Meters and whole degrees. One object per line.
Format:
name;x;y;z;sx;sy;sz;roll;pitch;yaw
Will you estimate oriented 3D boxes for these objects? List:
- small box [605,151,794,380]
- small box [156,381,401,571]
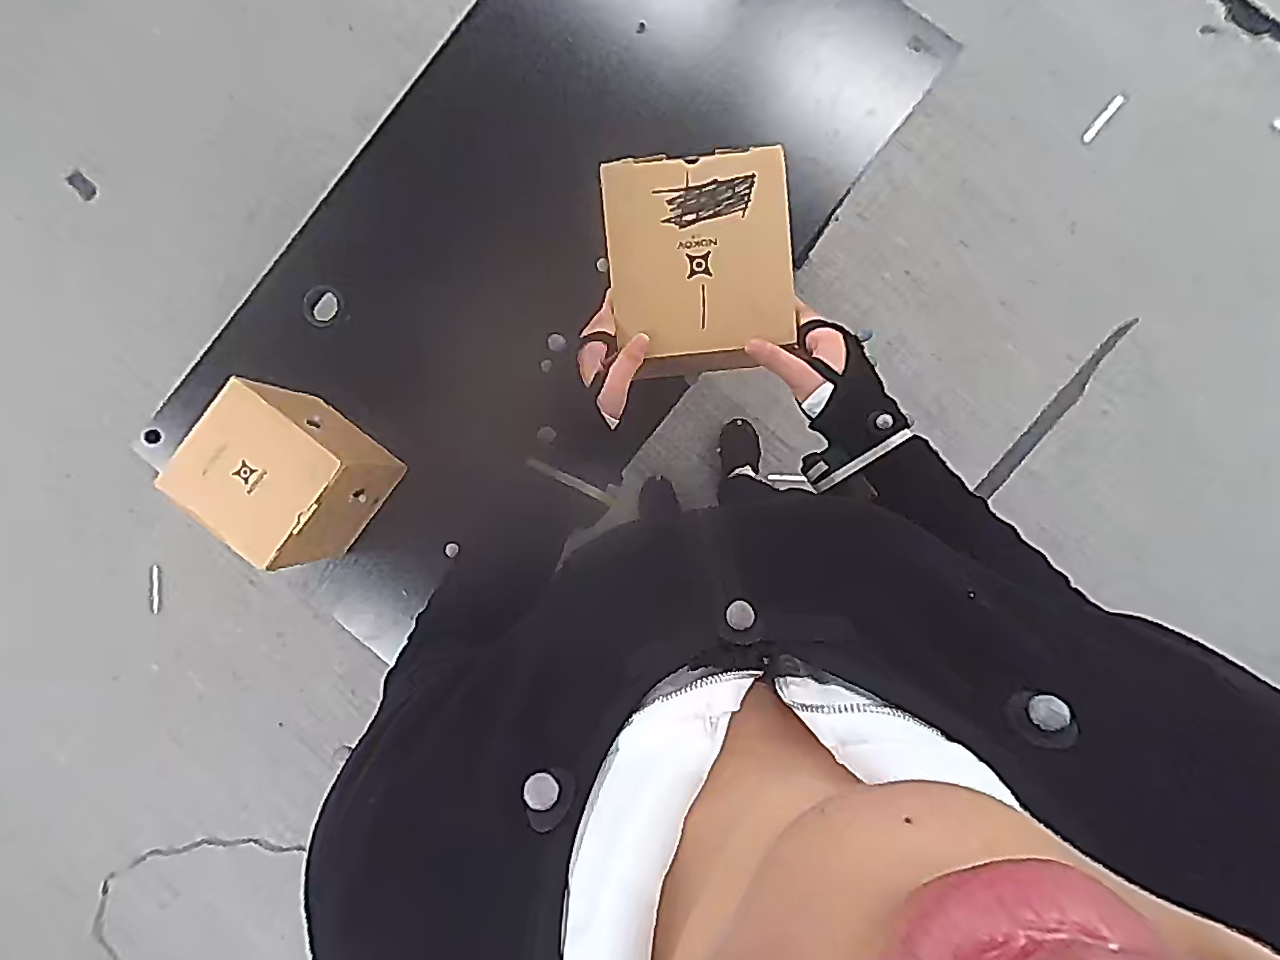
small box;0.054;-0.208;0.569;0.168;0.176;0.179;-5;95;1
small box;-0.464;-0.005;0.727;0.179;0.176;0.168;37;90;3
